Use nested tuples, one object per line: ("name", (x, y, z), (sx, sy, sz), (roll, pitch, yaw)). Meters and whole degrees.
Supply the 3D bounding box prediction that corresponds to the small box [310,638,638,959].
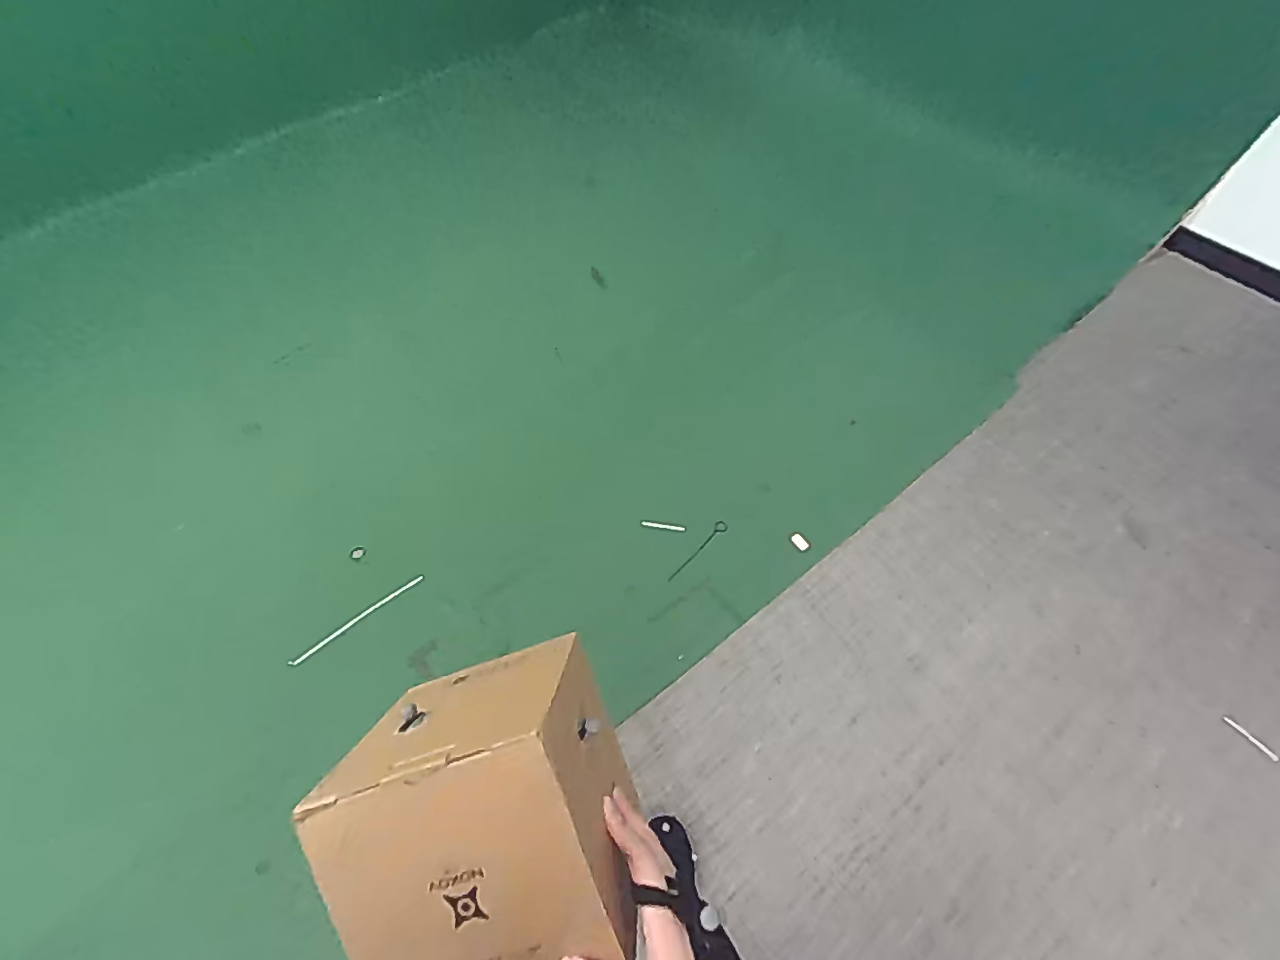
("small box", (-0.105, 0.242, 0.422), (0.168, 0.176, 0.179), (-19, 93, 3))
